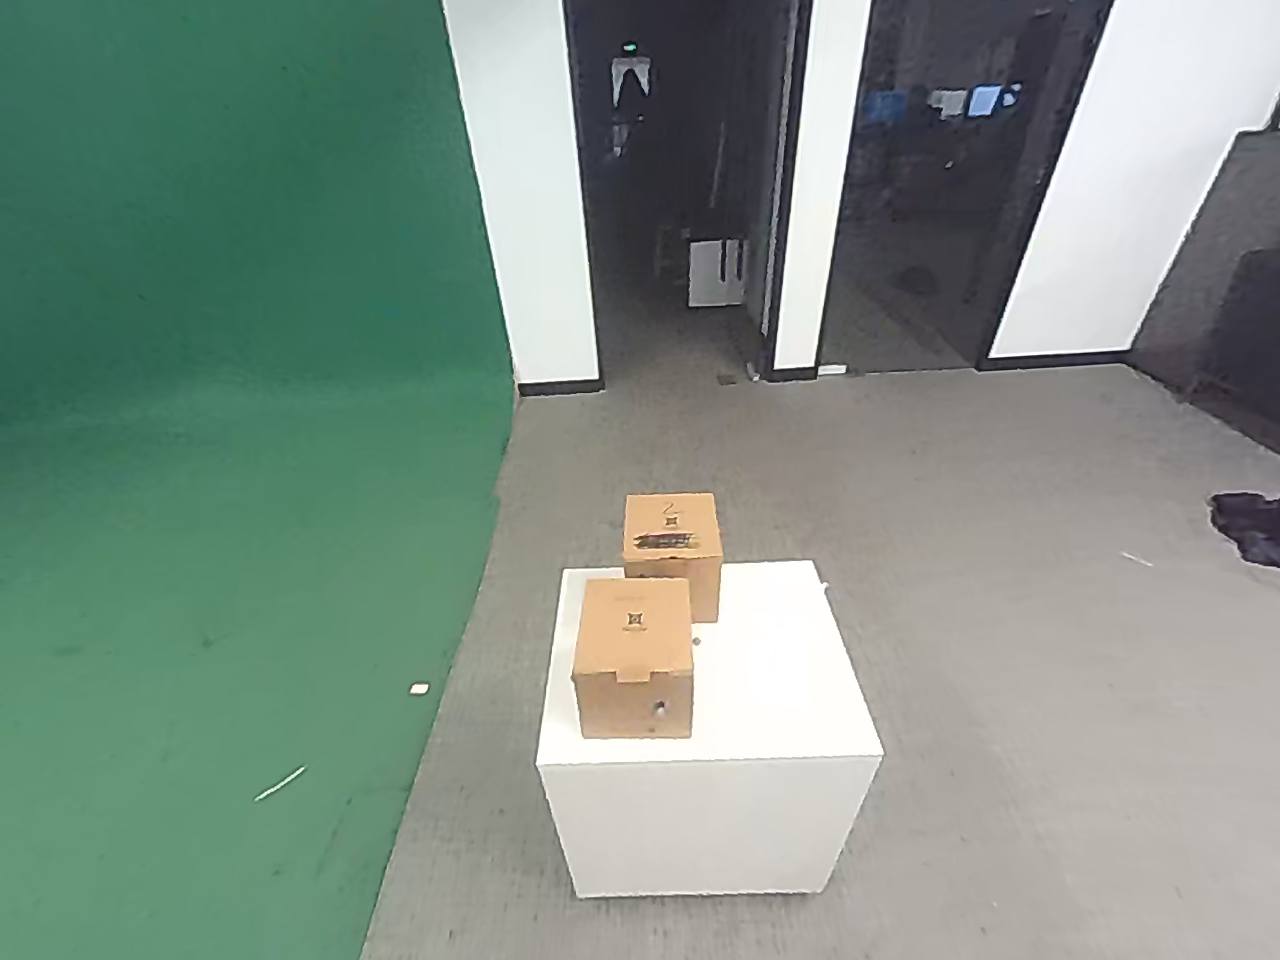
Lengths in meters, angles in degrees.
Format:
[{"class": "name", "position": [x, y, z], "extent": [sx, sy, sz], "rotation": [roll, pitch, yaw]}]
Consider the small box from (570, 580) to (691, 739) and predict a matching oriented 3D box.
[{"class": "small box", "position": [-0.008, 0.275, 0.830], "extent": [0.168, 0.176, 0.179], "rotation": [0, 34, 1]}]
